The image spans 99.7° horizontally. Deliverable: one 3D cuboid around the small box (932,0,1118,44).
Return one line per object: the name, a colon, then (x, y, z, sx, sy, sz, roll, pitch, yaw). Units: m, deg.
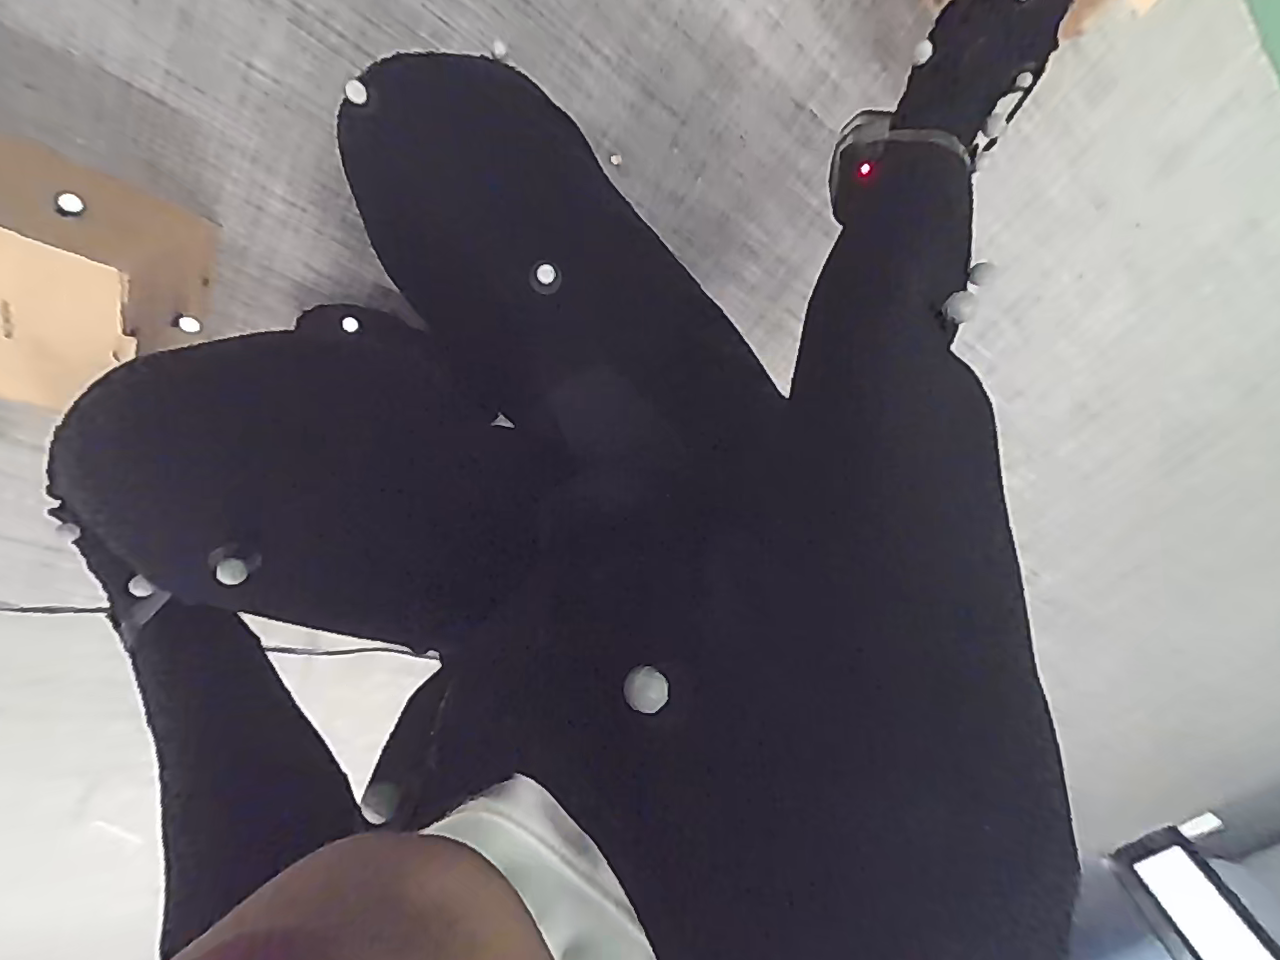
small box: (0.333, -0.493, 0.427, 0.168, 0.176, 0.179, 32, 113, -29)
